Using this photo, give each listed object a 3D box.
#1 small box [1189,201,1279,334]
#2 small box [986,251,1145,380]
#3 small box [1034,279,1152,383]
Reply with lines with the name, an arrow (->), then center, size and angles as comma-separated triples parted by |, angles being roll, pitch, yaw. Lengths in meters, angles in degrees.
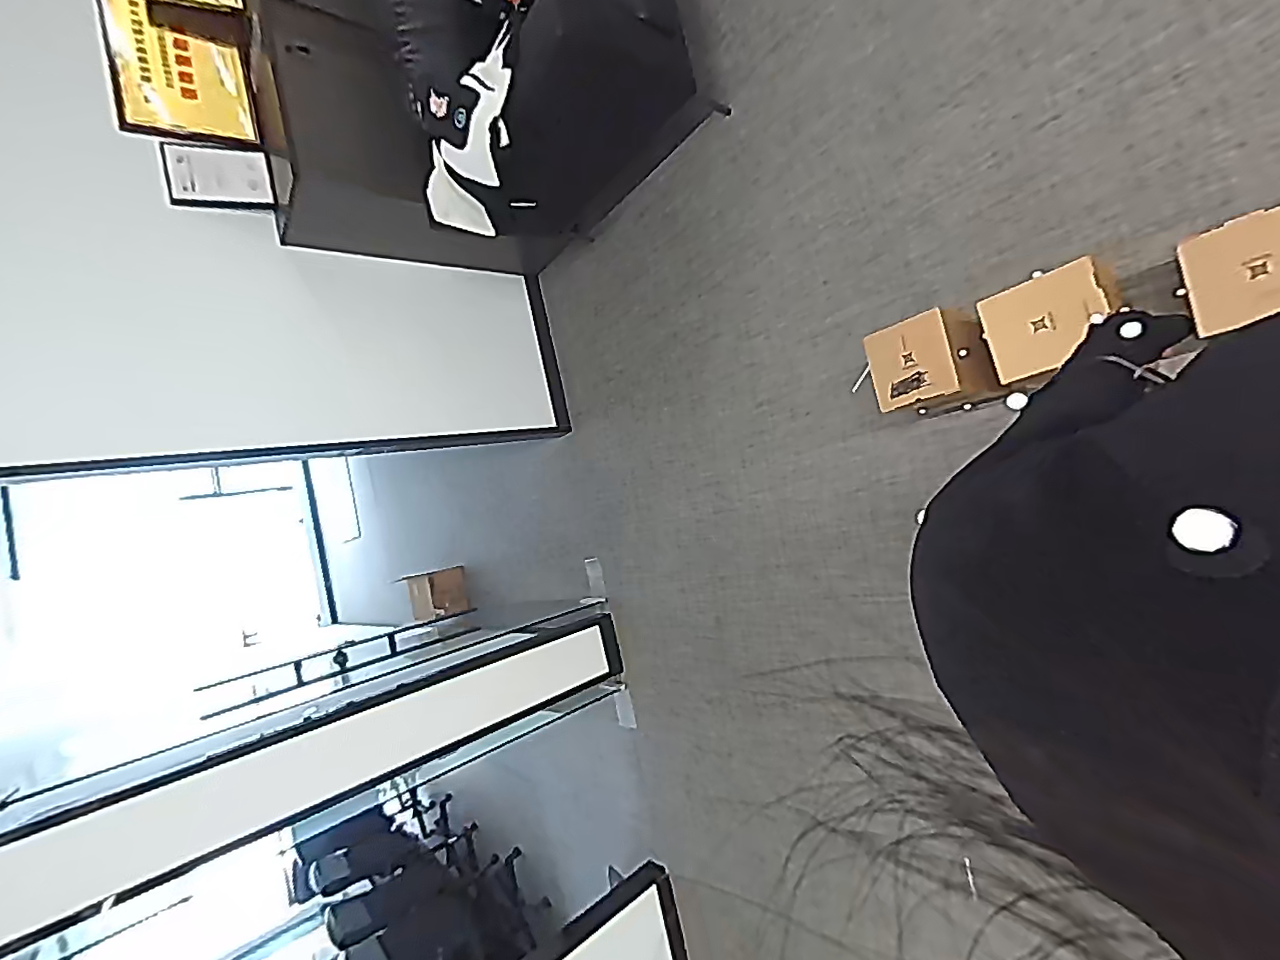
small box -> 1.063, -0.358, 0.910 | 0.168, 0.176, 0.179 | -15, 86, 51
small box -> 0.783, -0.291, 0.997 | 0.179, 0.176, 0.168 | -21, 81, 49
small box -> 0.904, -0.306, 1.105 | 0.168, 0.176, 0.179 | -20, 81, 51
